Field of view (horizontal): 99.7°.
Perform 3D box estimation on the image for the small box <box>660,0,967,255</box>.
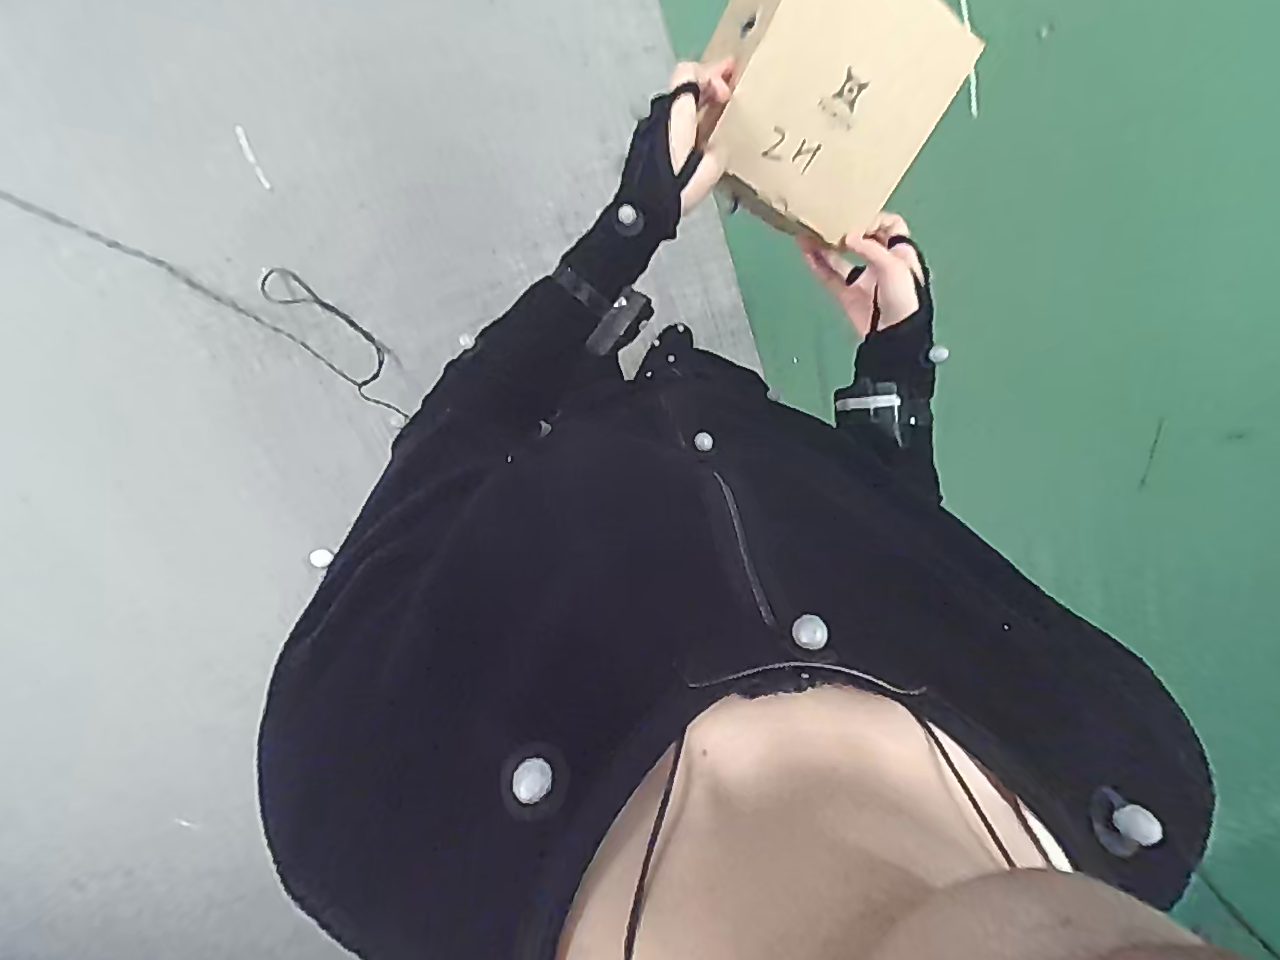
[{"bbox_3d":[0.135,-0.339,0.494,0.168,0.176,0.179,21,114,-22],"label":"small box"}]
